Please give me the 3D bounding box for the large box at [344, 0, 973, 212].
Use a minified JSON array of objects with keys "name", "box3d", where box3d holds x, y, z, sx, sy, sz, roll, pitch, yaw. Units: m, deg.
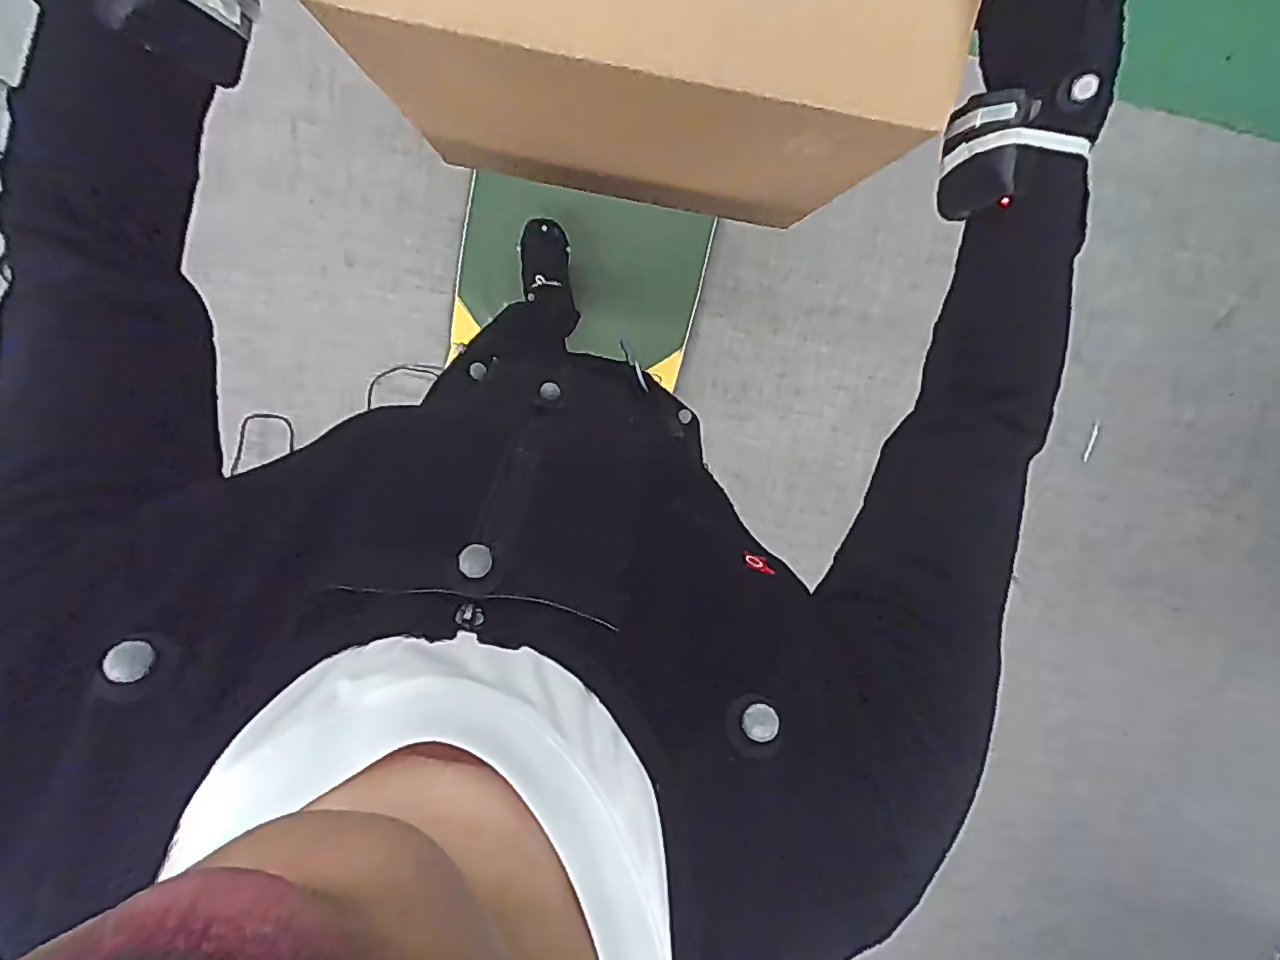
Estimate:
[{"name":"large box","box3d":[0.018,-0.449,0.448,0.408,0.320,0.320,7,105,-7]}]
